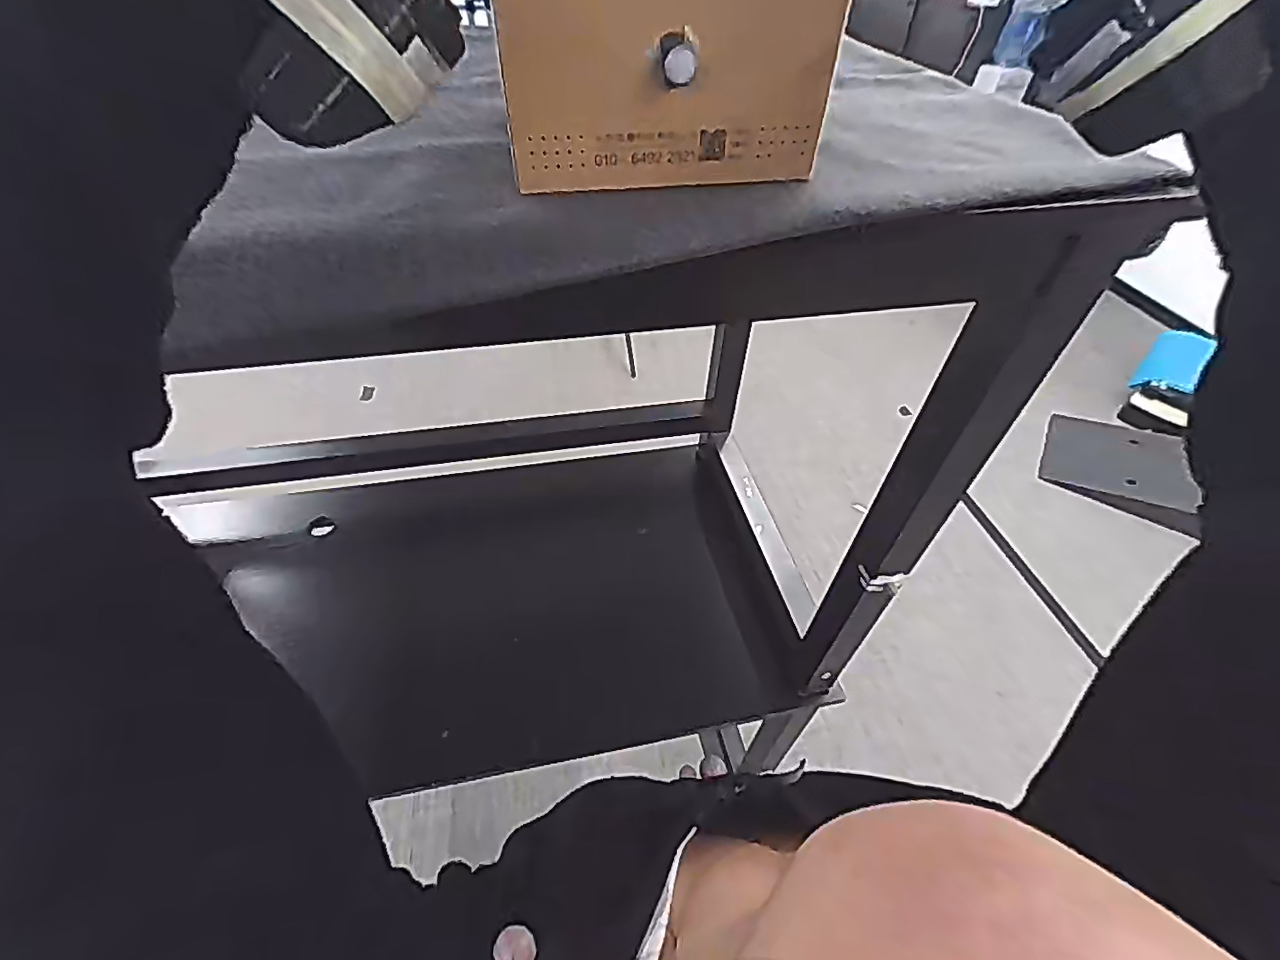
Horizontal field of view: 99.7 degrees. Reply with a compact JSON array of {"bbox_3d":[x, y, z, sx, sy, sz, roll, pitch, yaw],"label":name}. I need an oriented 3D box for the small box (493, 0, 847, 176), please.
[{"bbox_3d":[0.003,-0.282,0.292,0.168,0.176,0.179,-8,47,-7],"label":"small box"}]
